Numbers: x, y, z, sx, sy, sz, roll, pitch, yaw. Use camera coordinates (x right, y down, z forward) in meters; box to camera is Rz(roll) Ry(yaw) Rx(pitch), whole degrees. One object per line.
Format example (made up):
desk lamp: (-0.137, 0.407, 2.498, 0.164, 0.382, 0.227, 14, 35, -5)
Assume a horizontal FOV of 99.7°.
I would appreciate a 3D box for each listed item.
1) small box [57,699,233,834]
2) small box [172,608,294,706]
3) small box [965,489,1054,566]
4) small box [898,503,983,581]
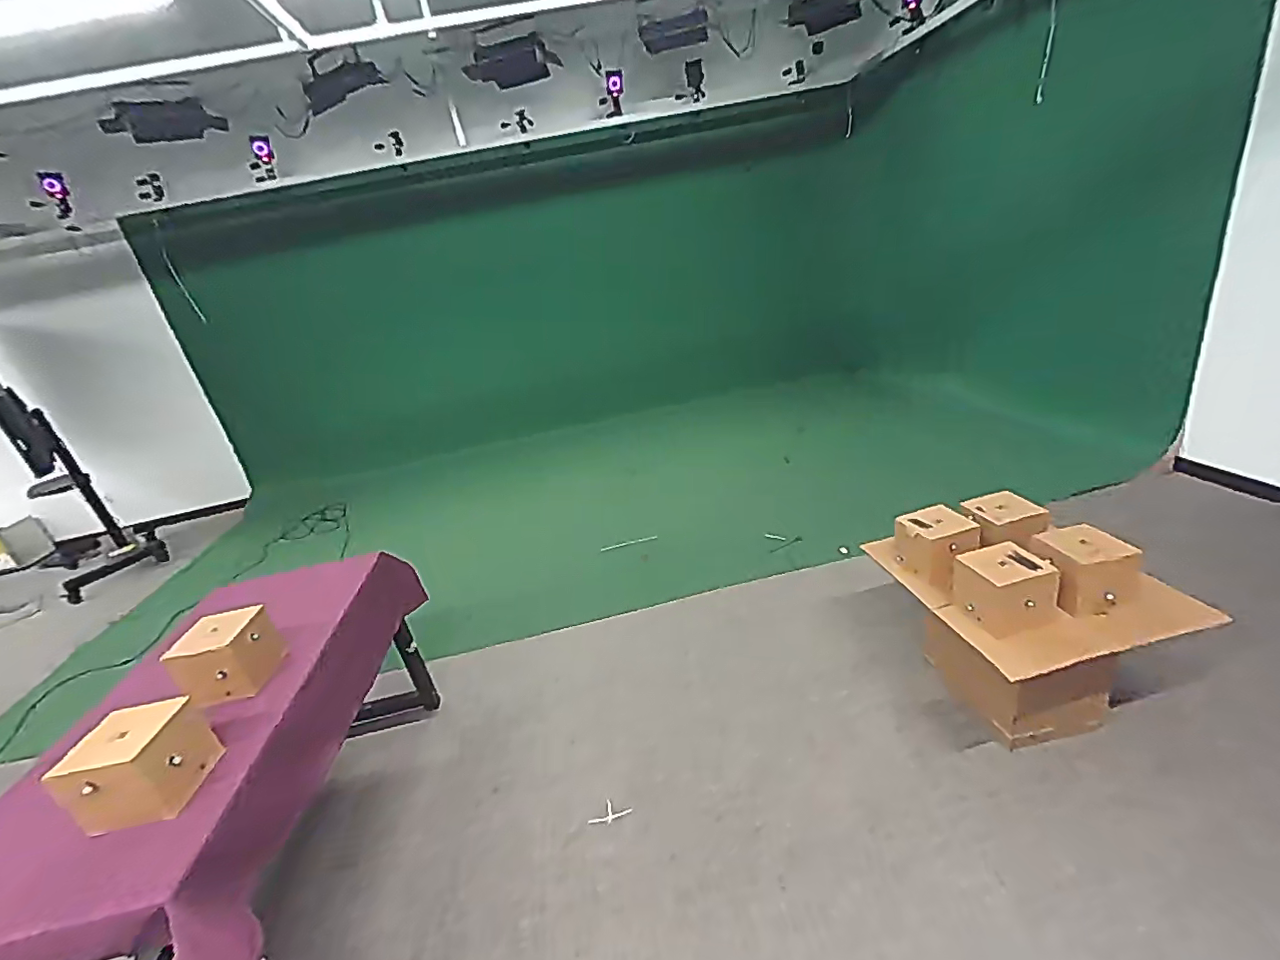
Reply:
small box: (-1.008, 0.594, 1.123, 0.179, 0.176, 0.168, -13, 23, 1)
small box: (-1.060, 0.473, 1.430, 0.168, 0.176, 0.179, -12, 22, -1)
small box: (1.157, 0.150, 1.714, 0.179, 0.176, 0.168, -13, 21, -6)
small box: (0.947, 0.198, 1.709, 0.179, 0.176, 0.168, -15, 23, -8)
